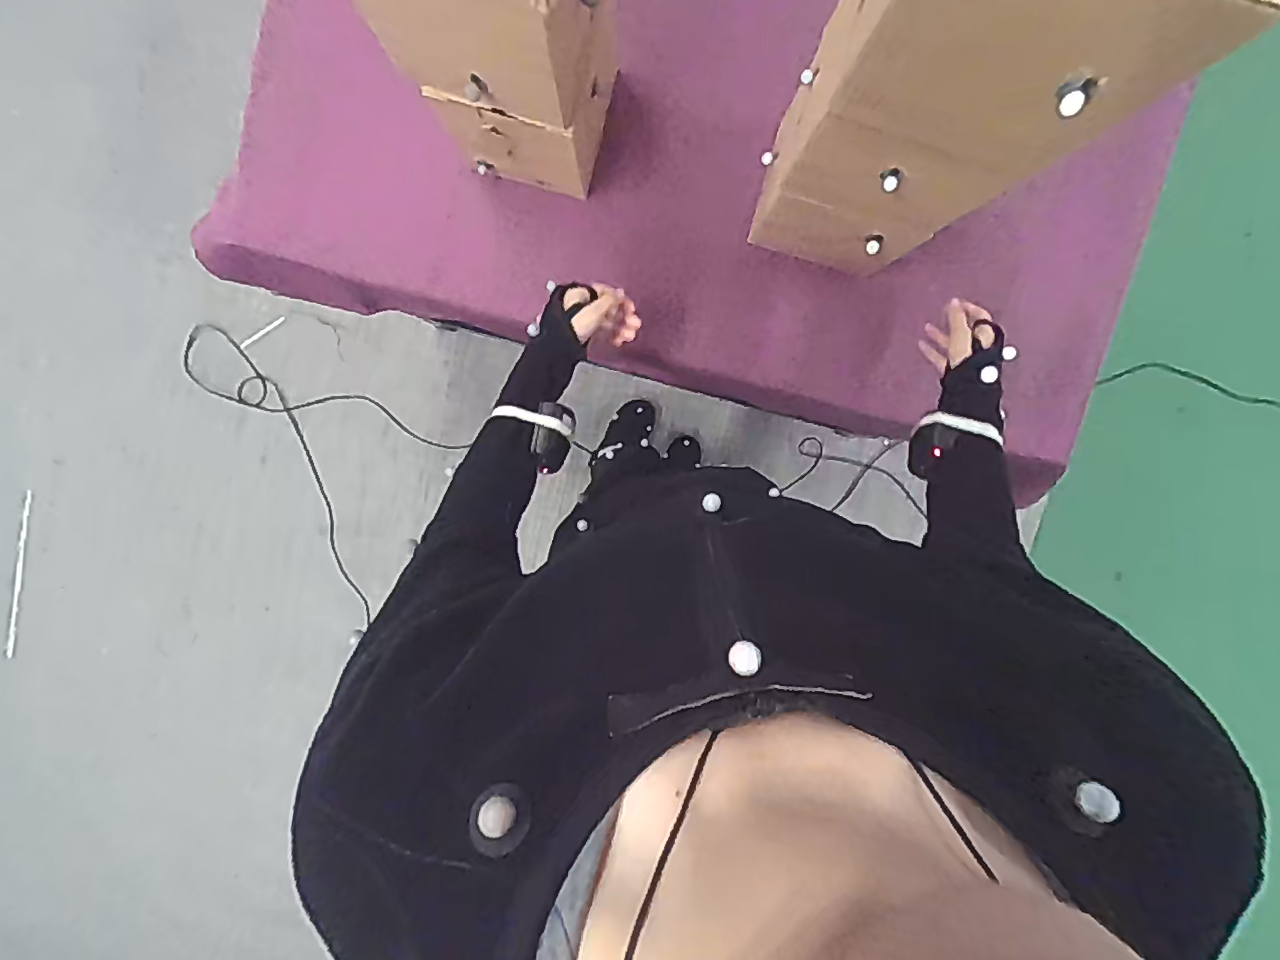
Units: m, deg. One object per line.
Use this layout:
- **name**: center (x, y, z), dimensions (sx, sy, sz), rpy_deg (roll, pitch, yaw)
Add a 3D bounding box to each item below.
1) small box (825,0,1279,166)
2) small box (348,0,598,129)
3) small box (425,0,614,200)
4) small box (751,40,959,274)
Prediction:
- **small box**: center (0.242, -0.325, 0.328), dimensions (0.179, 0.176, 0.168), rpy_deg (15, 95, -2)
- **small box**: center (-0.136, -0.450, 0.475), dimensions (0.179, 0.176, 0.168), rpy_deg (16, 95, -3)
- **small box**: center (-0.127, -0.465, 0.639), dimensions (0.168, 0.176, 0.179), rpy_deg (14, 95, -3)
- **small box**: center (0.254, -0.367, 0.654), dimensions (0.179, 0.176, 0.168), rpy_deg (15, 95, -2)
